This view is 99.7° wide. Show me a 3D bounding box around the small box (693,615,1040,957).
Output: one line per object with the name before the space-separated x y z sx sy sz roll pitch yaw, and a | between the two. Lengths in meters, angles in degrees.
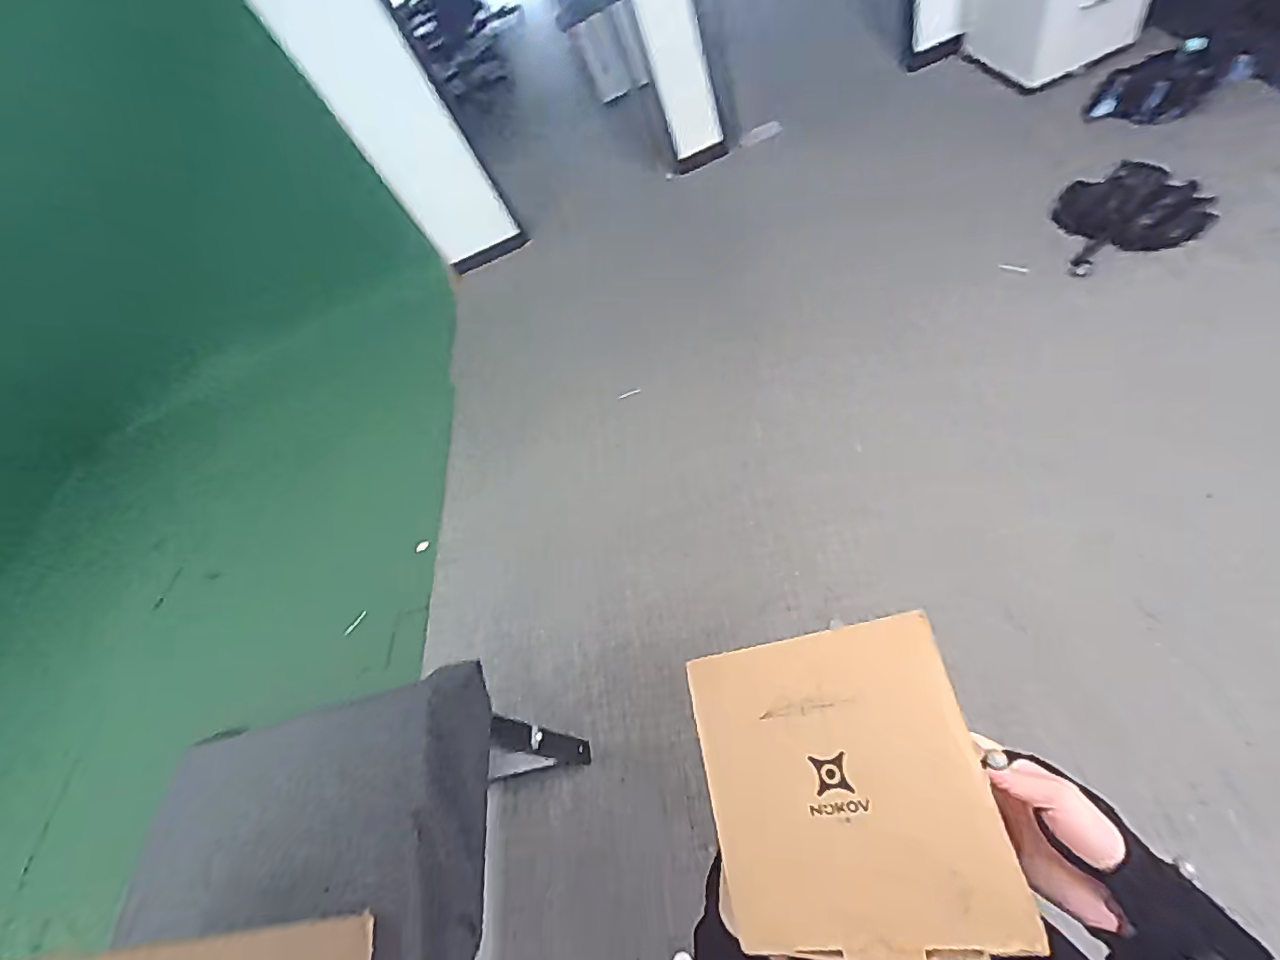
small box | 0.158 0.208 0.402 0.168 0.176 0.179 -19 64 21
